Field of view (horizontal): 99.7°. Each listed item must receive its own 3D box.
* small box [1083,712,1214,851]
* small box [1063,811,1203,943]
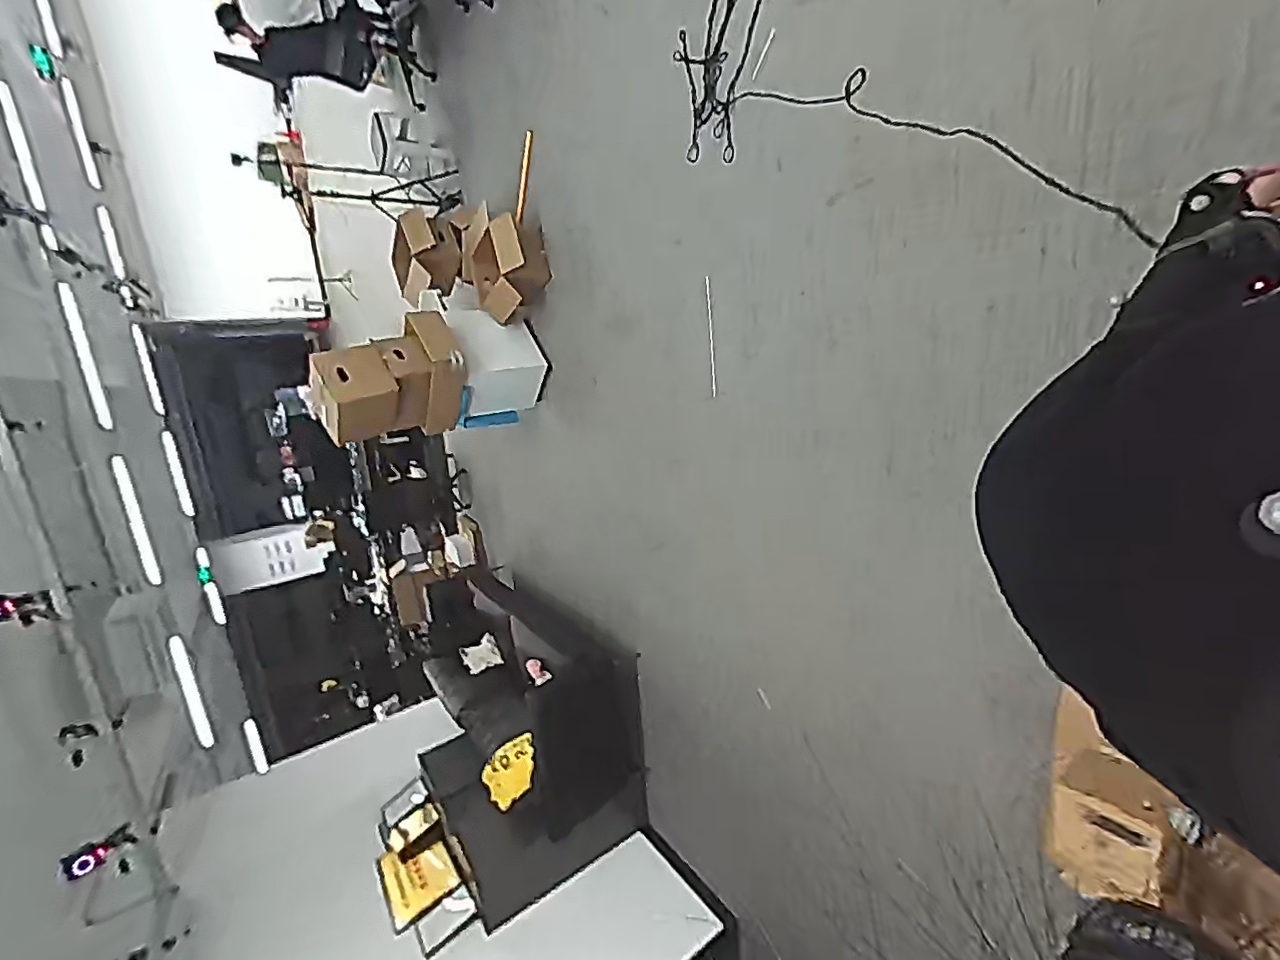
[{"bbox_3d":[1.134,0.657,1.205,0.168,0.176,0.179,21,119,52],"label":"small box"},{"bbox_3d":[1.153,0.906,1.265,0.179,0.176,0.168,37,130,46],"label":"small box"}]
